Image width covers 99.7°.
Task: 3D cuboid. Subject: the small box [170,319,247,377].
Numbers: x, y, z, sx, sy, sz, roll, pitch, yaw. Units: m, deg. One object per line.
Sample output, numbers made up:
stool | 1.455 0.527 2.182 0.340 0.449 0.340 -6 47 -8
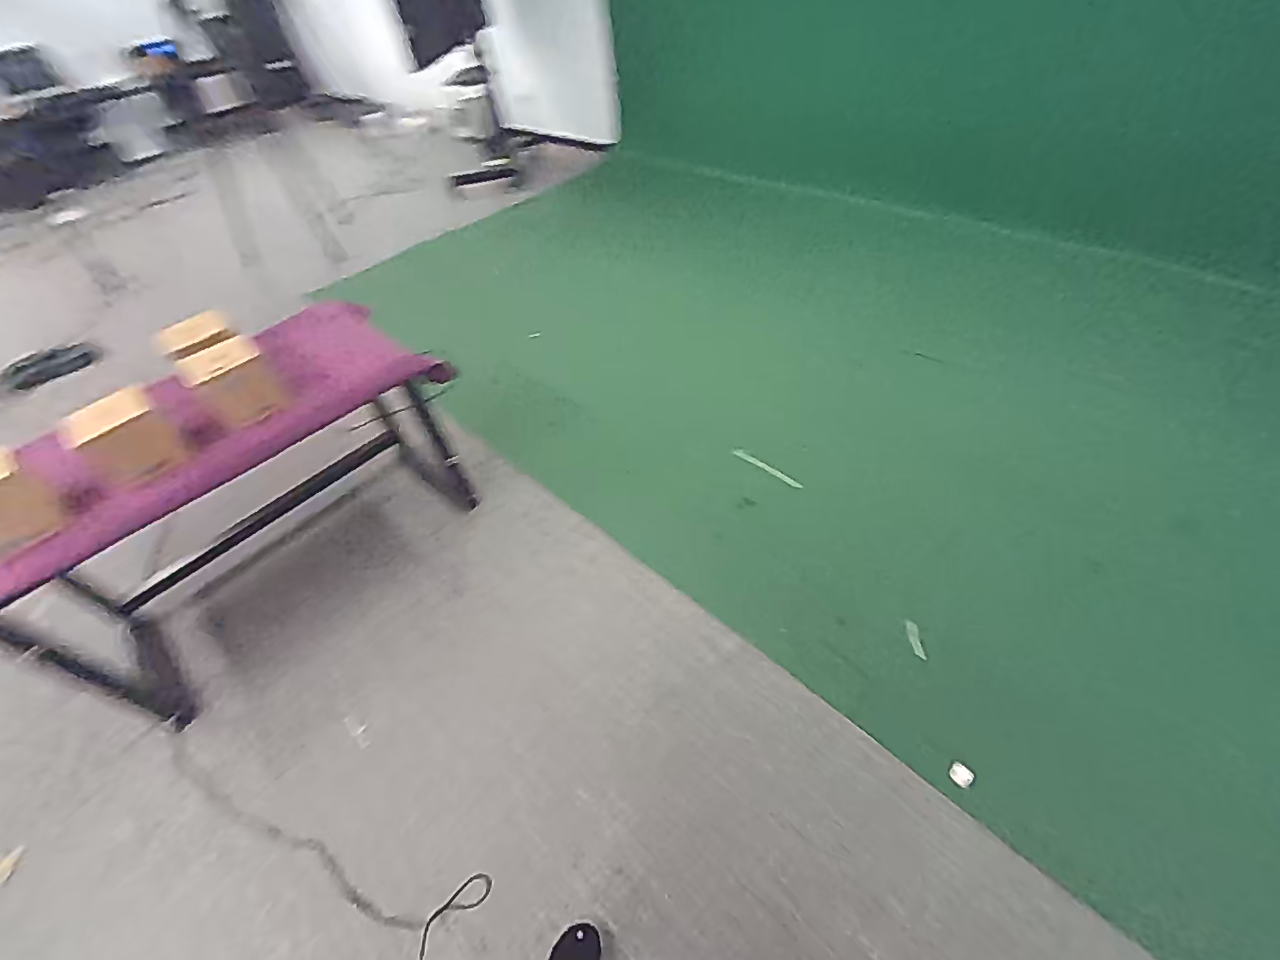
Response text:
small box | -1.297 -0.369 1.680 0.179 0.176 0.168 34 61 32

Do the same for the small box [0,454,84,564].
small box | -1.500 0.075 1.296 0.179 0.176 0.168 27 56 32

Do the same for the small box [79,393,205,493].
small box | -1.309 -0.094 1.427 0.179 0.176 0.168 32 60 32

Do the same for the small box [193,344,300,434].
small box | -1.120 -0.258 1.547 0.168 0.176 0.179 -39 52 -24
